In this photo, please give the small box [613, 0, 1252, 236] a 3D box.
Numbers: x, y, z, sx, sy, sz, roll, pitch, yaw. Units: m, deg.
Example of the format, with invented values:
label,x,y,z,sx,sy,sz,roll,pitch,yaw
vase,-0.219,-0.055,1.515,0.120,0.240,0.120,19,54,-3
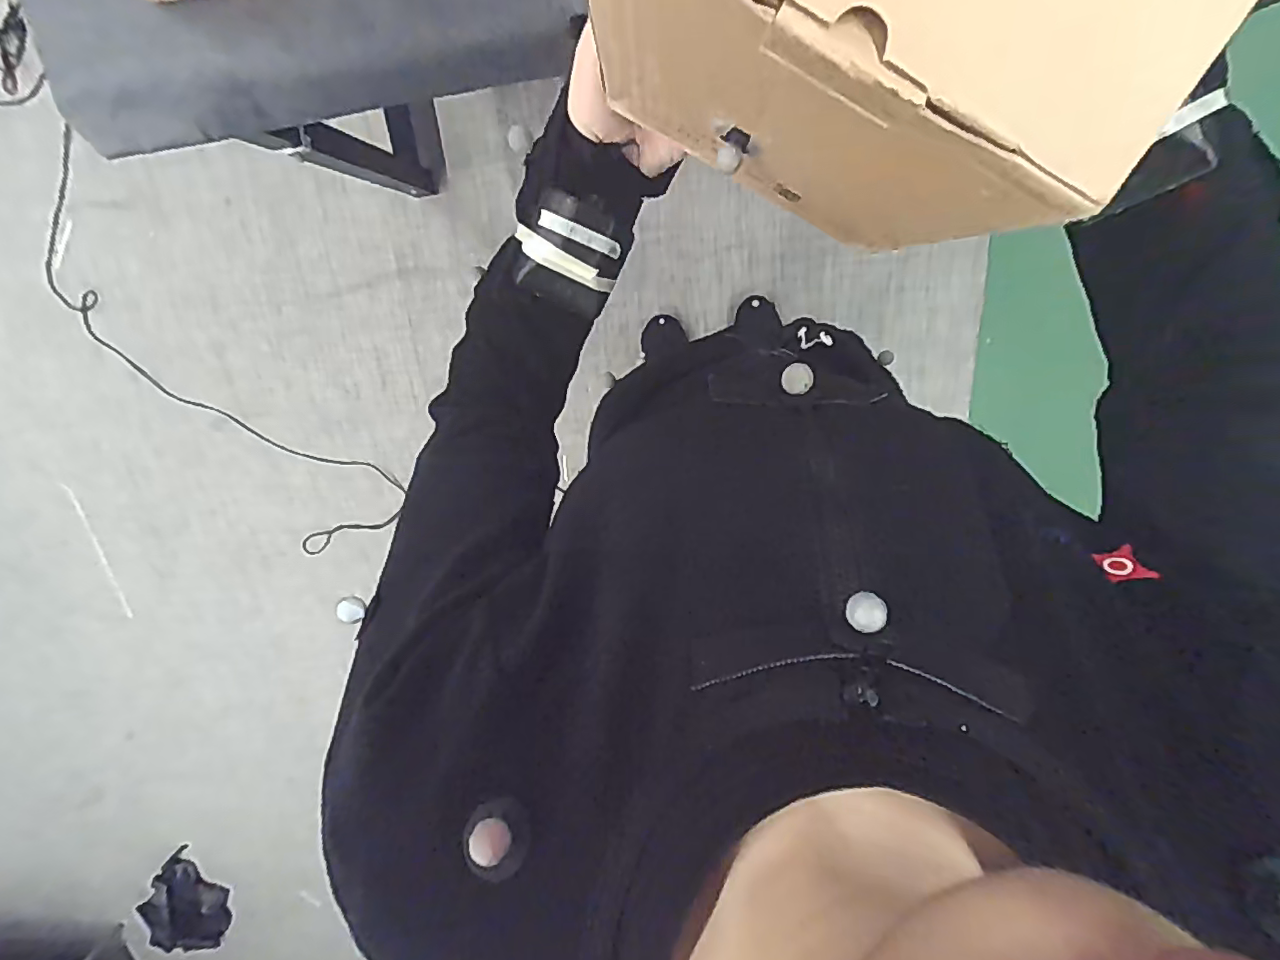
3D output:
label,x,y,z,sx,sy,sz,roll,pitch,yaw
small box,0.093,-0.209,0.187,0.168,0.176,0.179,25,109,-8
